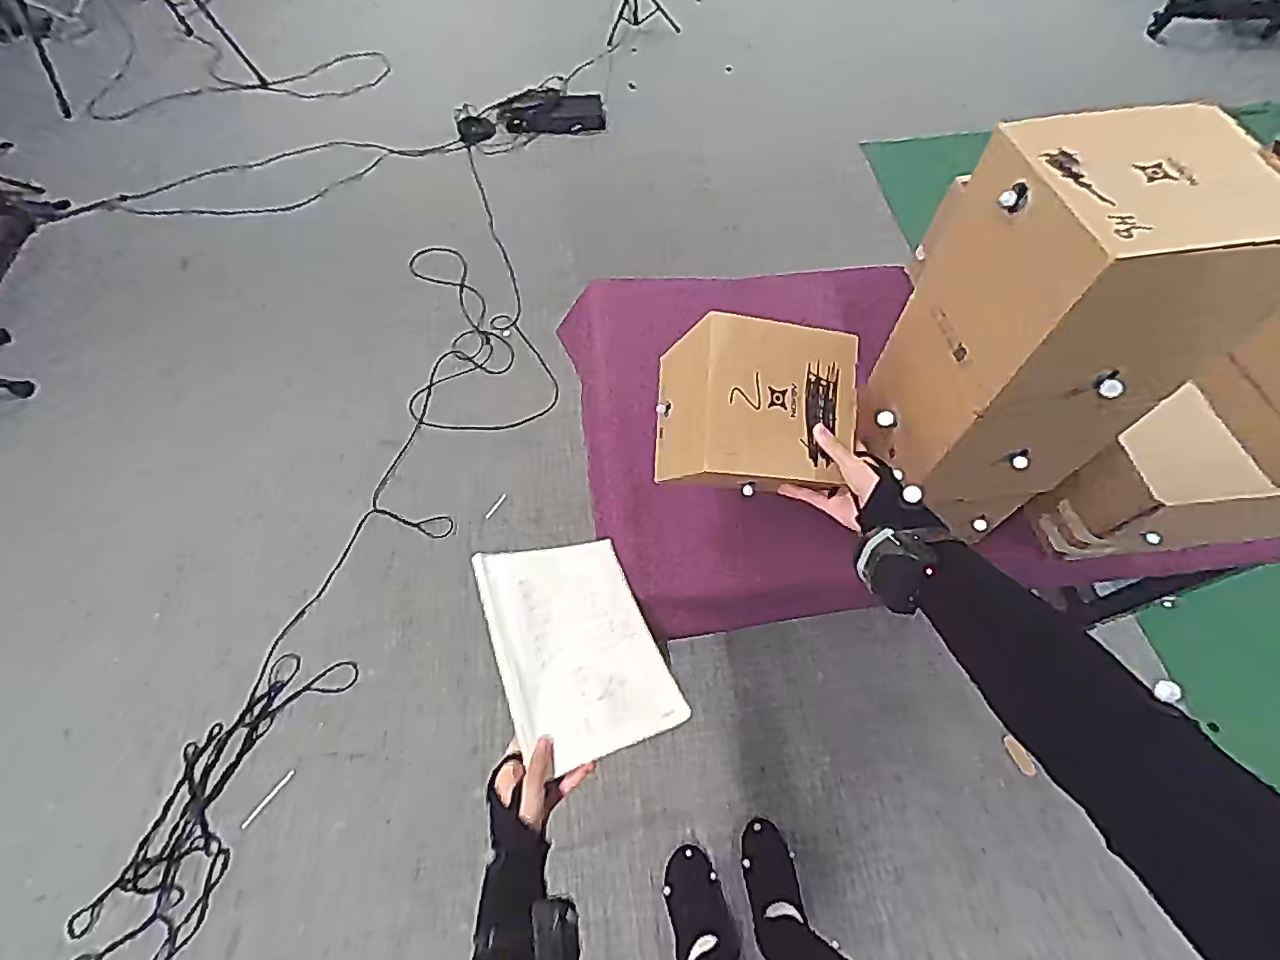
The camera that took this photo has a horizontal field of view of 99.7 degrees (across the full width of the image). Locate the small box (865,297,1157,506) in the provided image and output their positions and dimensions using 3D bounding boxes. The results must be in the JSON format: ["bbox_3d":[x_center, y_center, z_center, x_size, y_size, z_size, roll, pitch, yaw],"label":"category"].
[{"bbox_3d":[0.378,-0.085,0.593,0.179,0.176,0.168,-5,59,-1],"label":"small box"}]

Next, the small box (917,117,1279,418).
[{"bbox_3d":[0.373,-0.169,0.452,0.179,0.176,0.168,-5,58,-2],"label":"small box"}]

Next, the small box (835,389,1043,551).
[{"bbox_3d":[0.388,-0.011,0.739,0.168,0.176,0.179,-5,59,-1],"label":"small box"}]
